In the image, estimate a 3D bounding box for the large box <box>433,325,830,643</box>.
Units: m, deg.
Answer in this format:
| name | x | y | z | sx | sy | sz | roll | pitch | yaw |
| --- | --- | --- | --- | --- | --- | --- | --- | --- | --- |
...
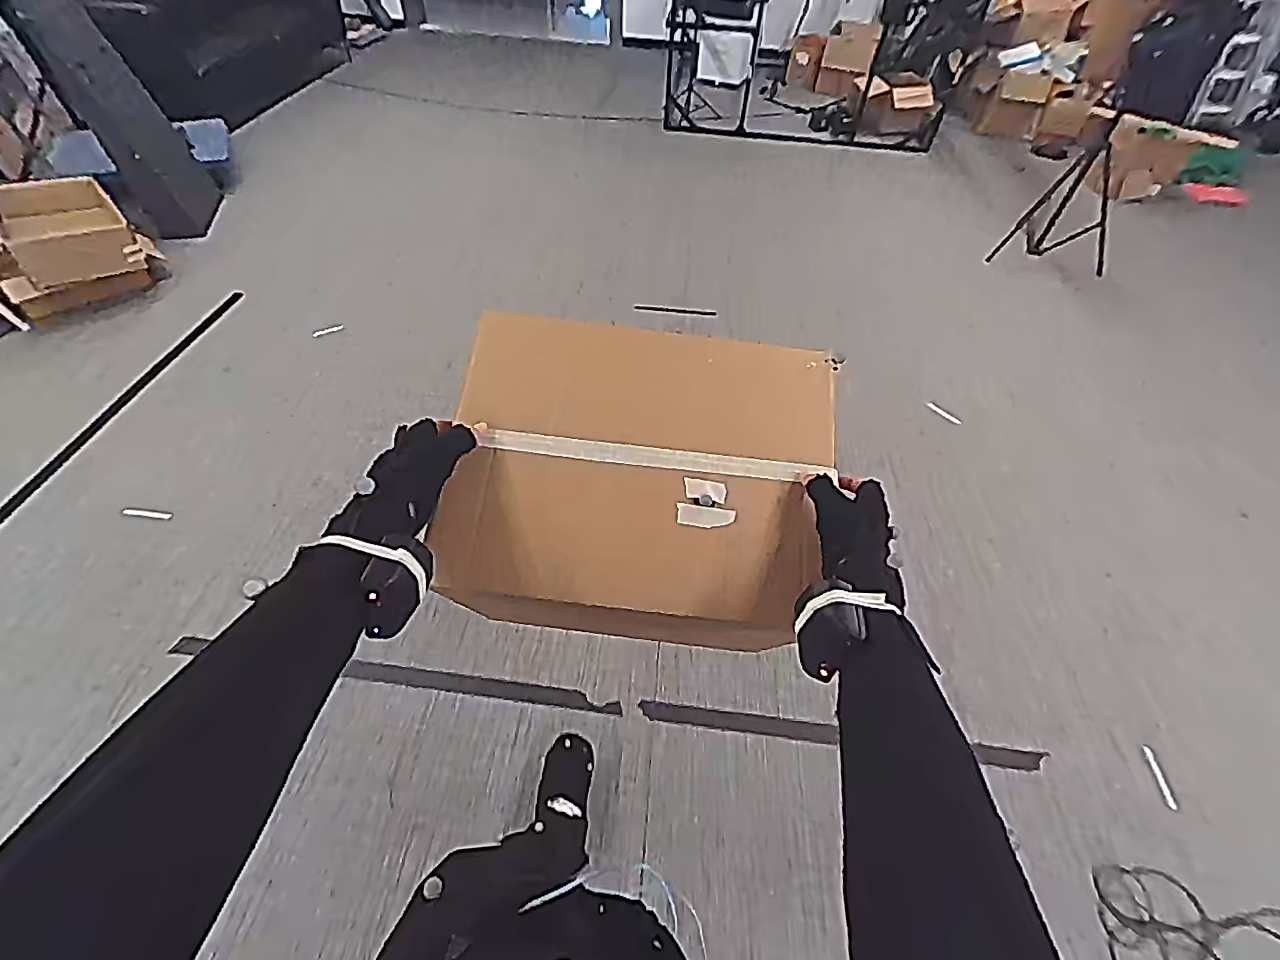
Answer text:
| name | x | y | z | sx | sy | sz | roll | pitch | yaw |
| --- | --- | --- | --- | --- | --- | --- | --- | --- | --- |
| large box | -0.004 | 0.030 | 0.723 | 0.408 | 0.320 | 0.320 | 7 | 70 | -1 |
